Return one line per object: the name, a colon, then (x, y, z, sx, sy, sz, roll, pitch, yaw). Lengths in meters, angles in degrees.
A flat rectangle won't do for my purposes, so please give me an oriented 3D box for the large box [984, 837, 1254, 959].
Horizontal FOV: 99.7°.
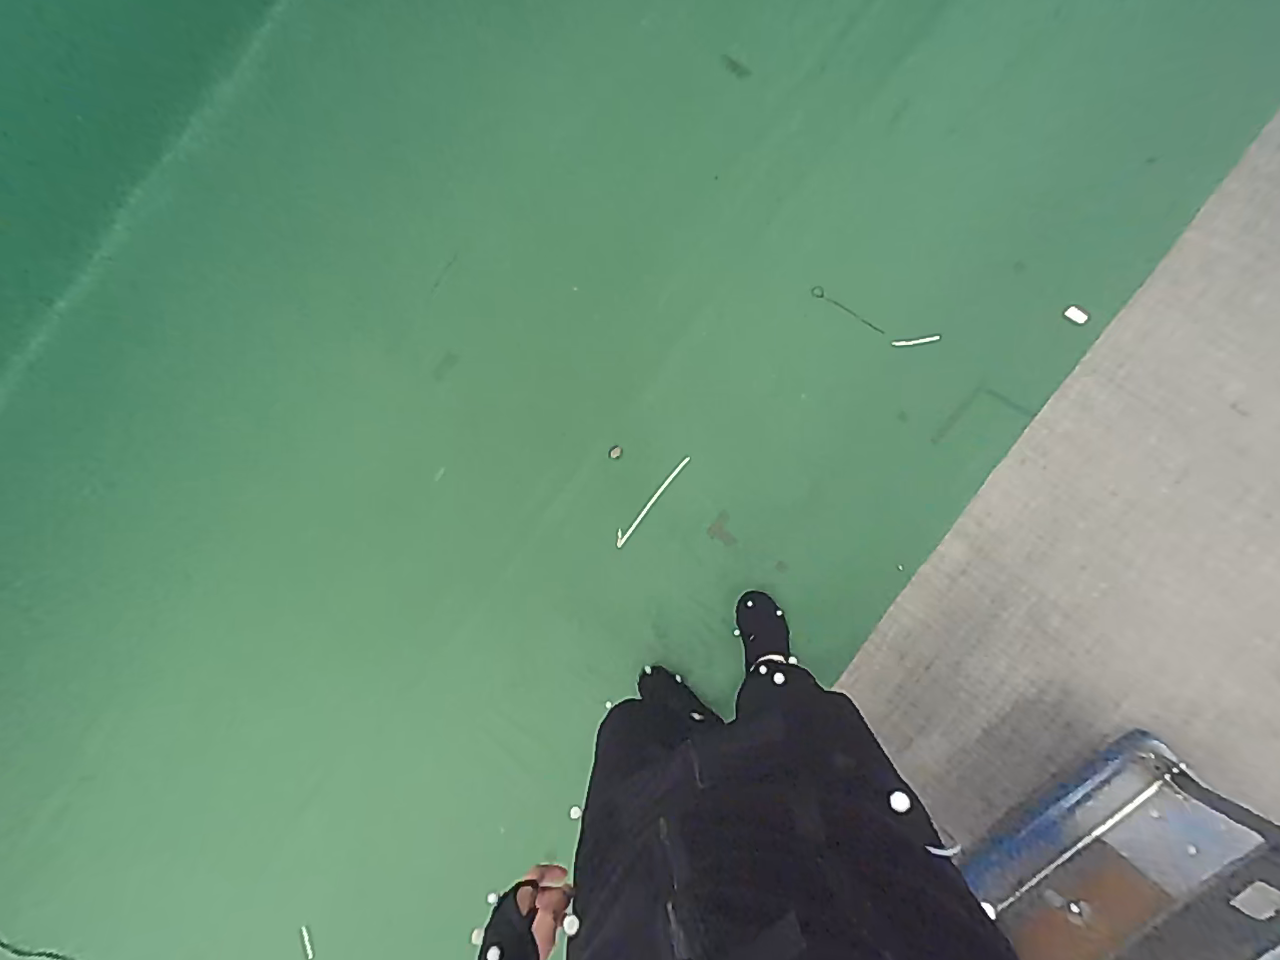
large box: (0.888, 0.917, 0.880, 0.320, 0.320, 0.408, -43, 76, 4)
